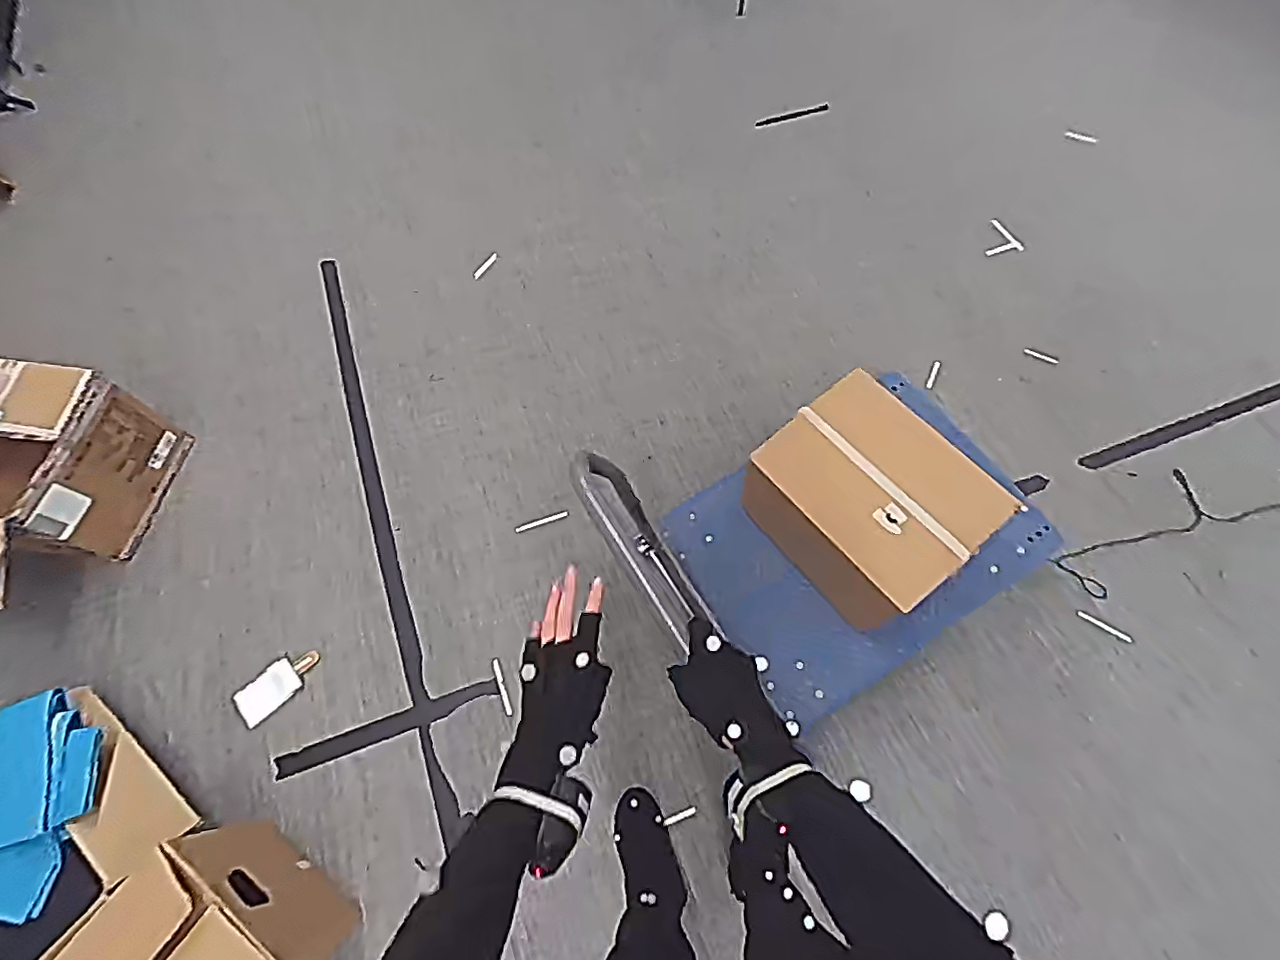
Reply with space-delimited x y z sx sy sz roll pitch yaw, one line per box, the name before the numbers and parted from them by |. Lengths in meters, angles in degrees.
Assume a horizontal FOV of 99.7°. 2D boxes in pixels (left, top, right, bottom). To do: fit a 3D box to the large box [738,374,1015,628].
large box | 0.470 0.057 1.182 0.320 0.320 0.408 -39 70 -9
